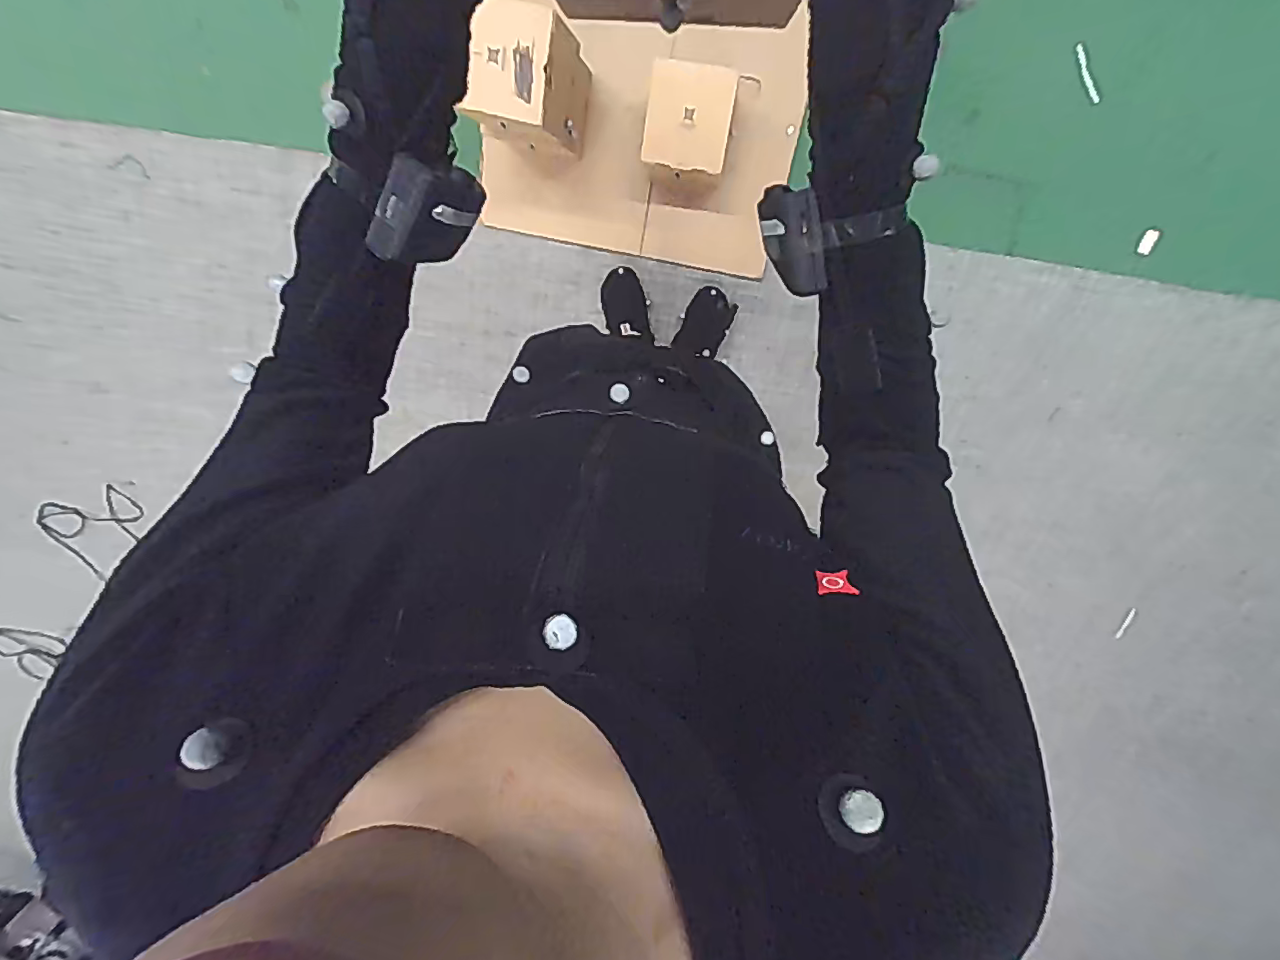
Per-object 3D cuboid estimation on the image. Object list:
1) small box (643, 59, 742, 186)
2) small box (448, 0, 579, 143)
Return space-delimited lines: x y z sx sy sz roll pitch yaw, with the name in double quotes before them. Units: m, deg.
"small box" 0.106 -0.721 1.108 0.168 0.176 0.179 10 114 3
"small box" -0.219 -0.722 0.965 0.179 0.176 0.168 15 114 3
